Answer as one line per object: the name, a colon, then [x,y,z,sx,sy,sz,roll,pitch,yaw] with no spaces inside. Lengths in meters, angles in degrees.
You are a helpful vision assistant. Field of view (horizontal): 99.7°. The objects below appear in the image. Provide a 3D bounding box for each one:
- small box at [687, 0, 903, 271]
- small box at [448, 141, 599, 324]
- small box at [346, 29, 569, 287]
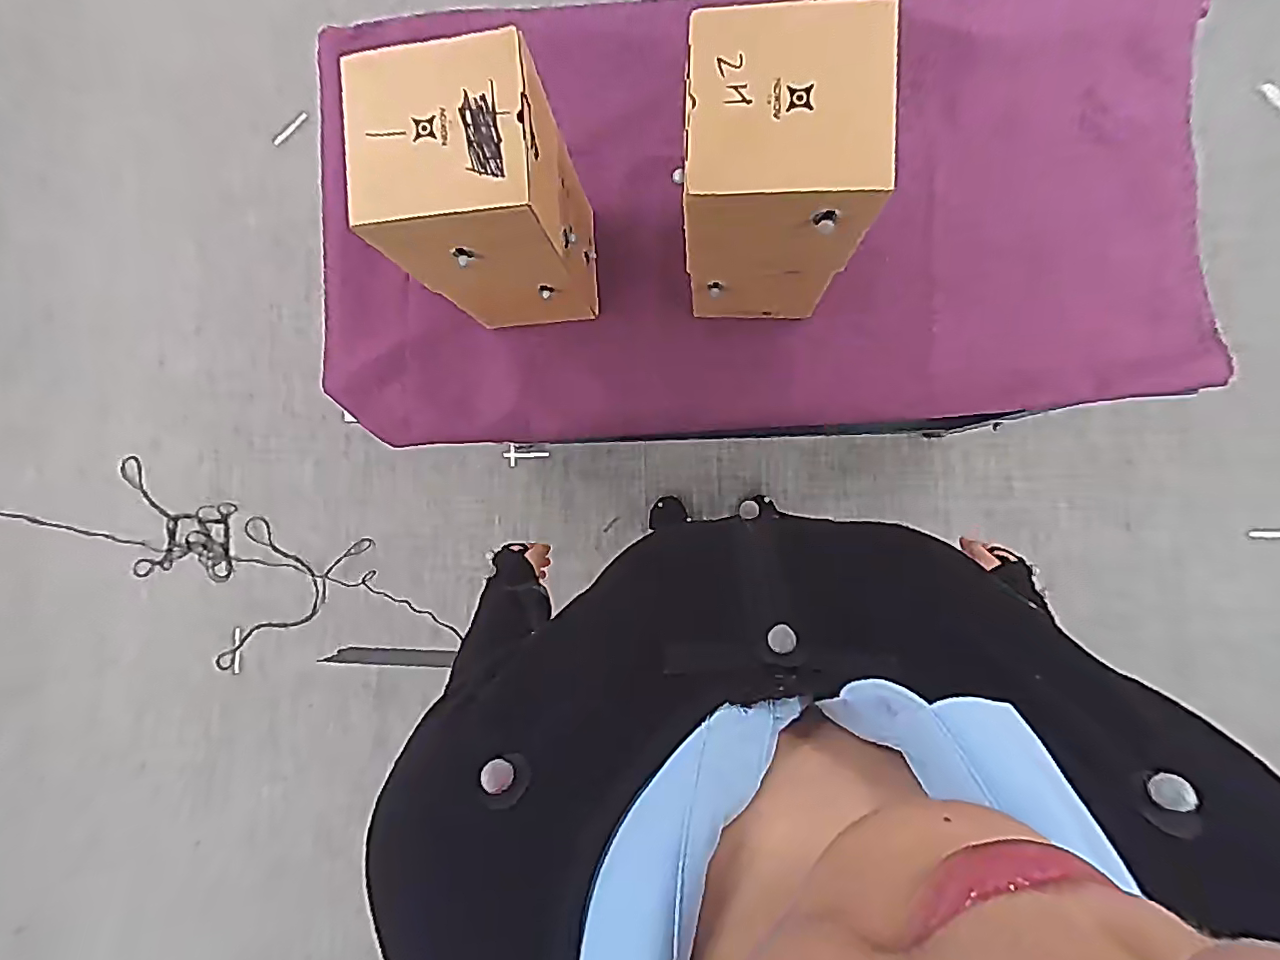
small box: [0.139,-0.322,0.537,0.179,0.176,0.168,2,88,7]
small box: [-0.160,-0.322,0.739,0.179,0.176,0.168,-4,89,6]
small box: [-0.176,-0.321,0.575,0.179,0.176,0.168,-4,88,6]
